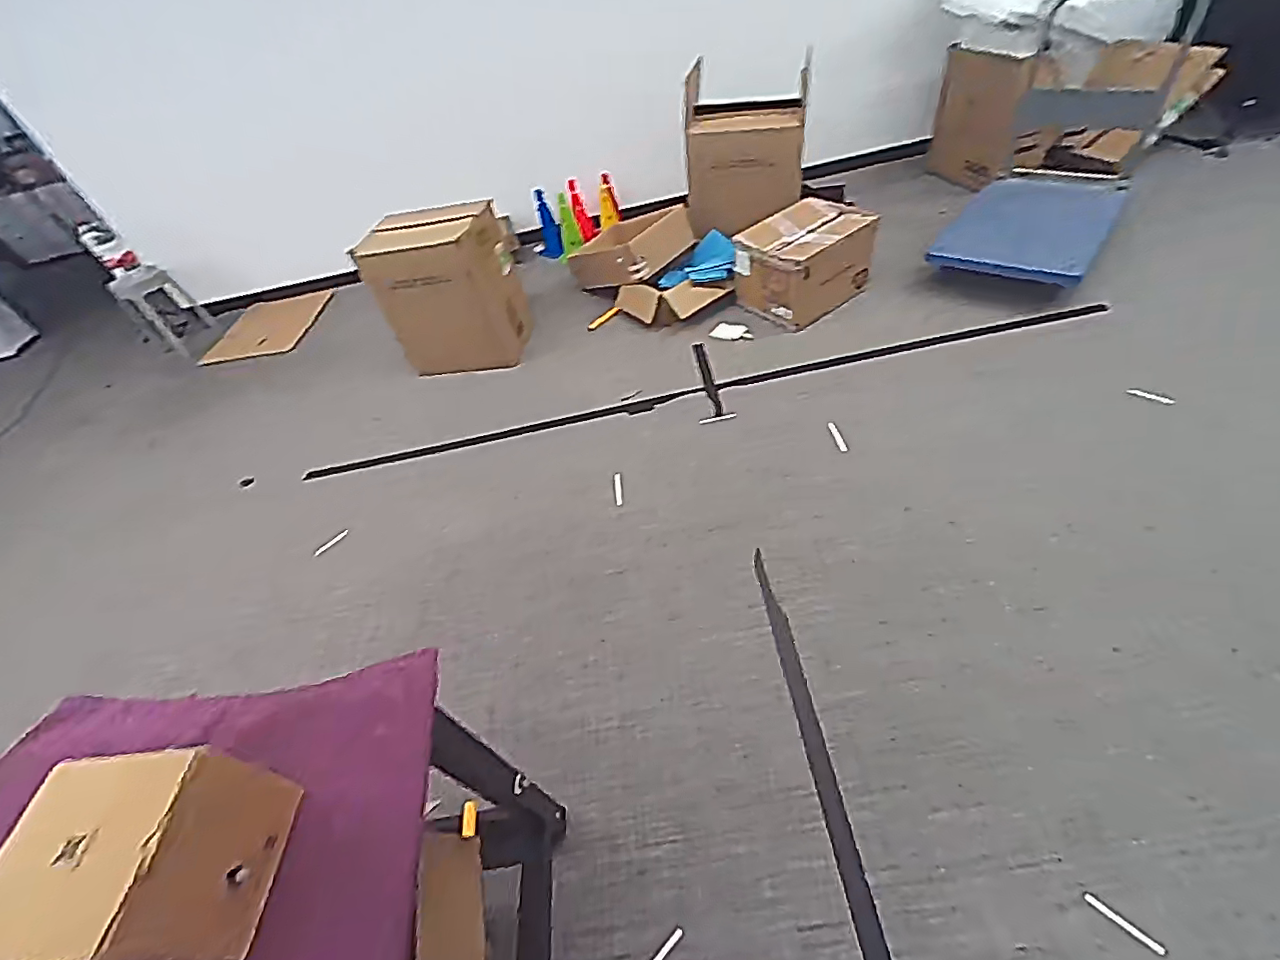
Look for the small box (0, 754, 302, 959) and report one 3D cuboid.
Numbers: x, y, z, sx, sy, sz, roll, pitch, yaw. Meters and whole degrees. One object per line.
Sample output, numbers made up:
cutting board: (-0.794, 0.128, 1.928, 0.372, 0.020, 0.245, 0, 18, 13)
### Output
small box: (-0.511, 0.409, 0.568, 0.179, 0.176, 0.168, -10, 46, 7)
